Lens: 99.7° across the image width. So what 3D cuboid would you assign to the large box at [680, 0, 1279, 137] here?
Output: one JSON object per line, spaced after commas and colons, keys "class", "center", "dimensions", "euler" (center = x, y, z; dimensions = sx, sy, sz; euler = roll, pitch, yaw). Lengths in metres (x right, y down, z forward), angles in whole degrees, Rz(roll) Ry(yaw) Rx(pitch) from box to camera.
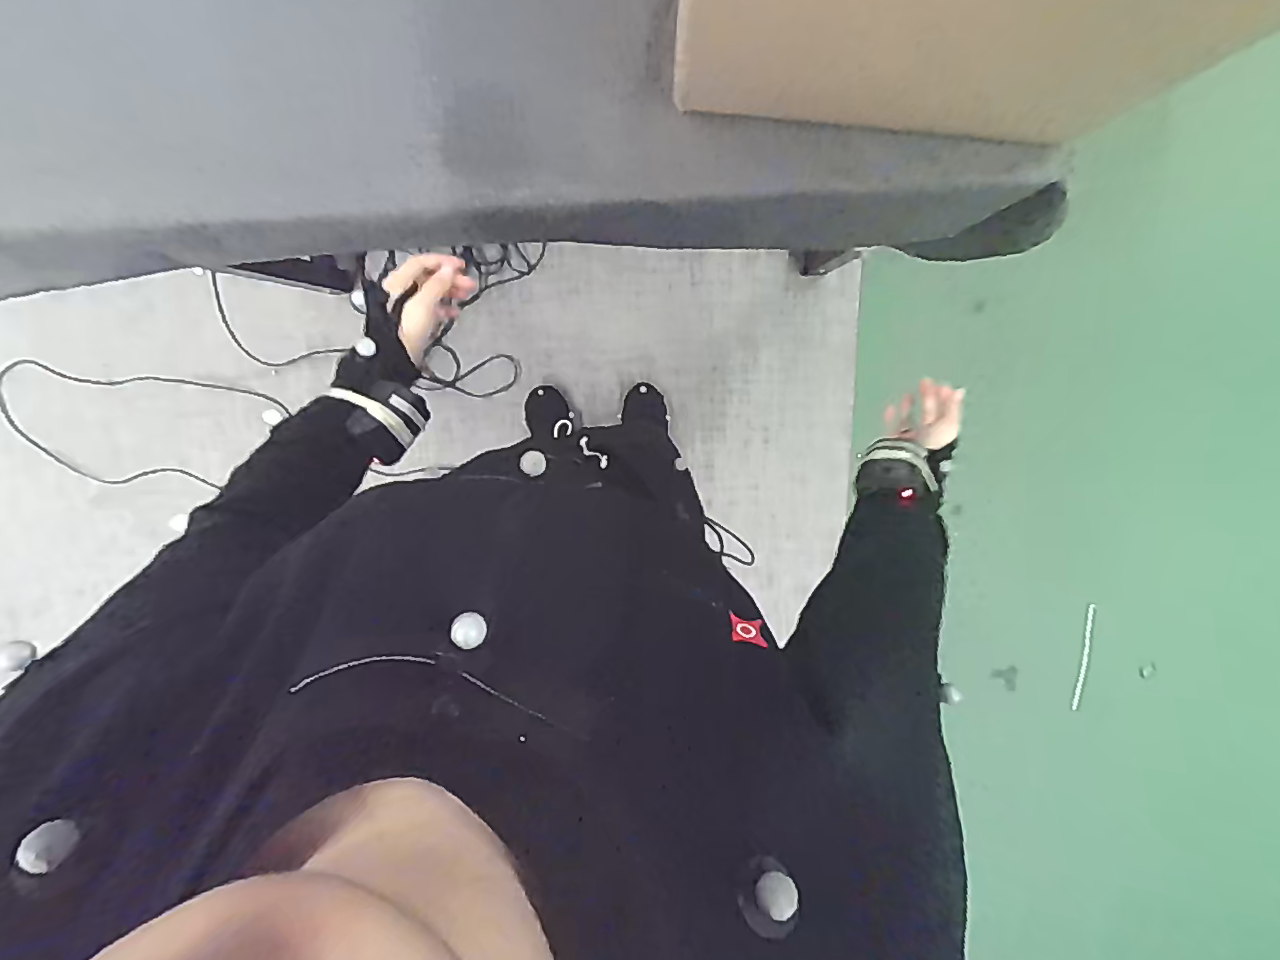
{"class": "large box", "center": [0.246, -0.477, 0.371], "dimensions": [0.408, 0.320, 0.320], "euler": [5, 103, -1]}
